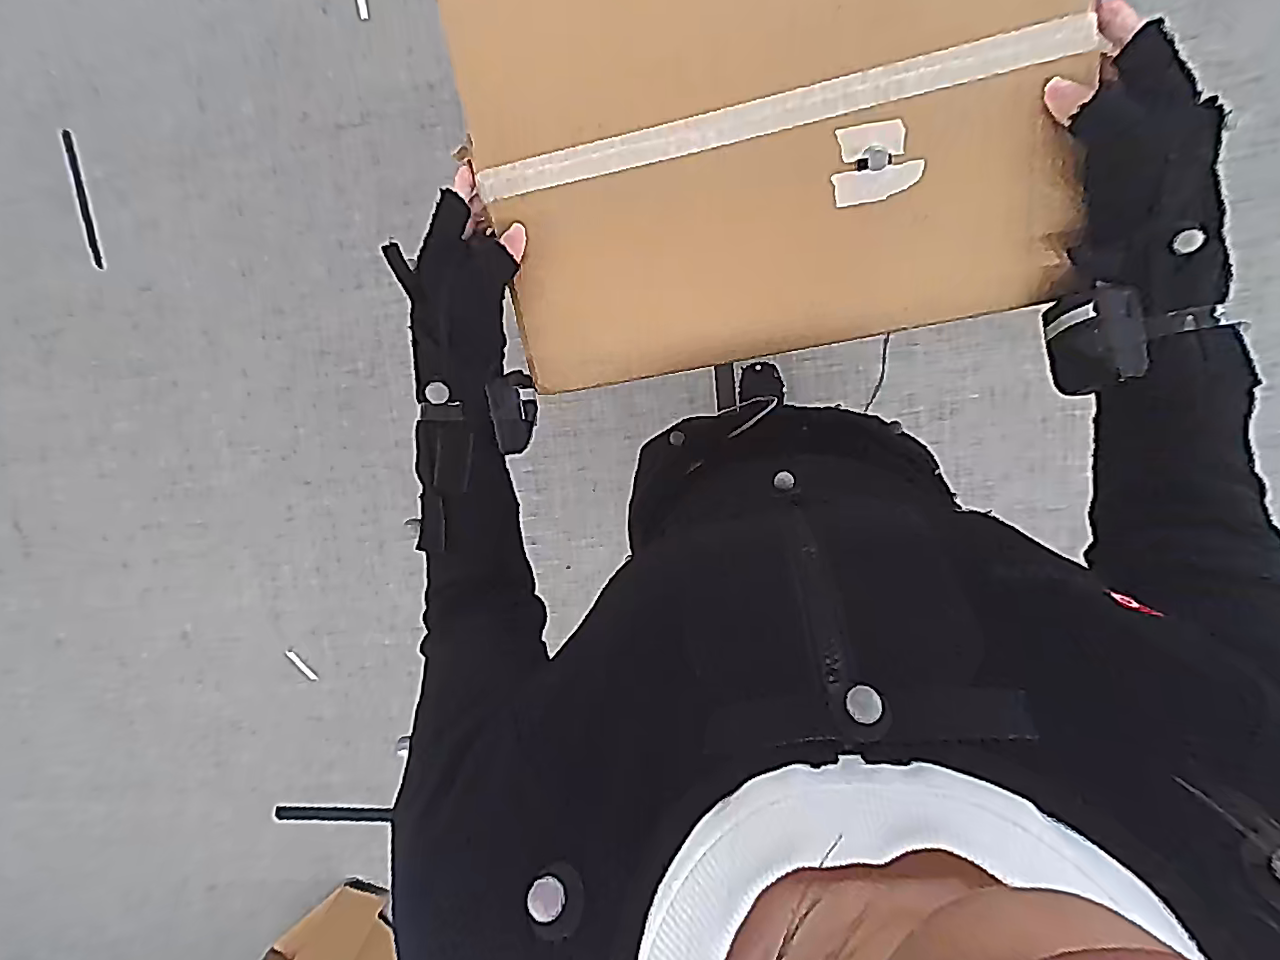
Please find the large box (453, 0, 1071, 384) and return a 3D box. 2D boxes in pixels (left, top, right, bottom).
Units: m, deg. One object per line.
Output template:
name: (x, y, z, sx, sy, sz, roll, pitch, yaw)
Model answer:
large box: (0.099, -0.296, 0.522, 0.408, 0.320, 0.320, -9, 106, 8)
